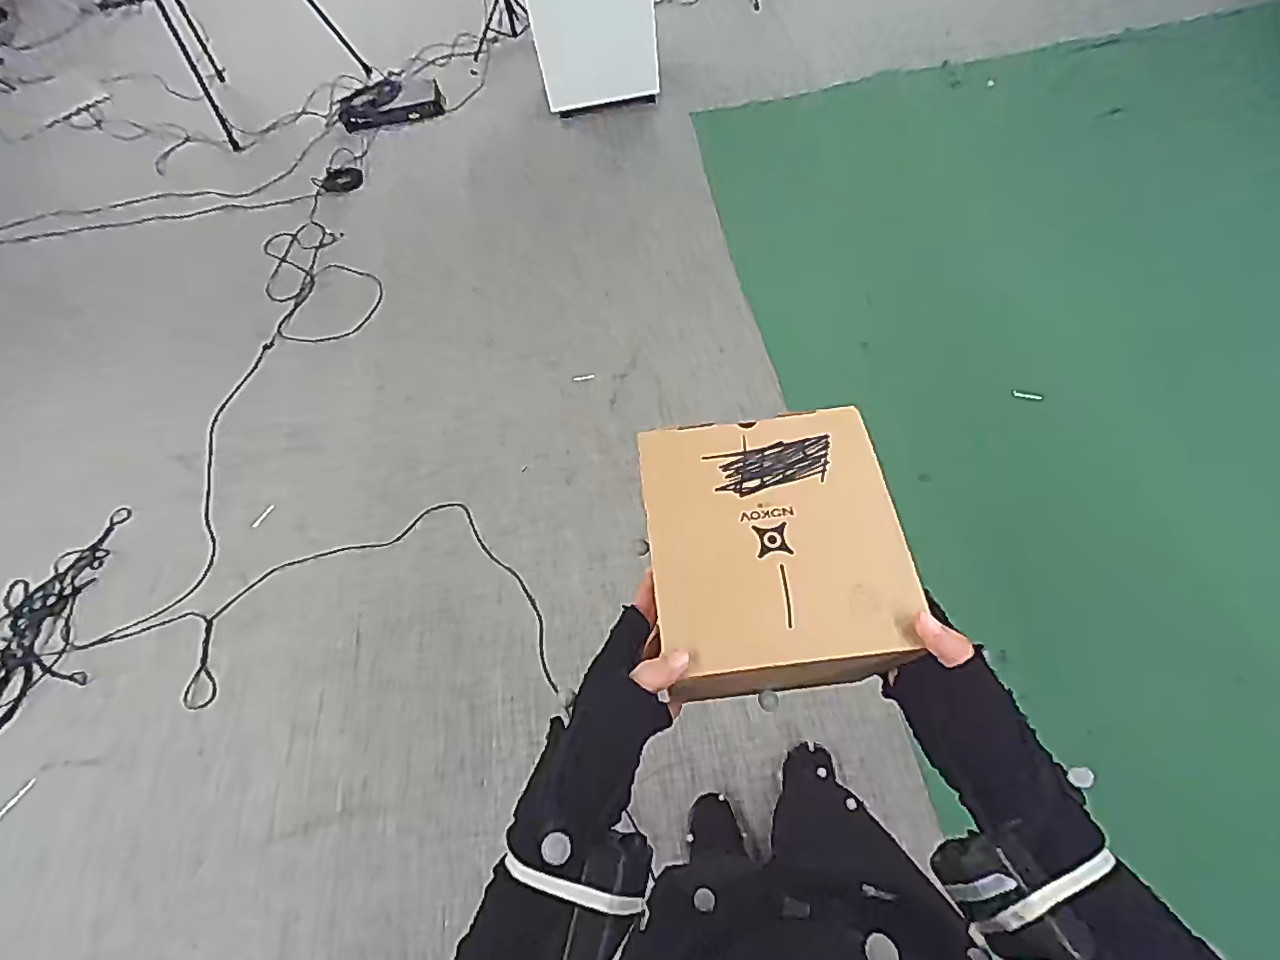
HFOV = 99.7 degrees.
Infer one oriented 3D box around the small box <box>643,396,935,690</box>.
[{"bbox_3d":[0.094,0.059,0.434,0.168,0.176,0.179,-7,62,2],"label":"small box"}]
